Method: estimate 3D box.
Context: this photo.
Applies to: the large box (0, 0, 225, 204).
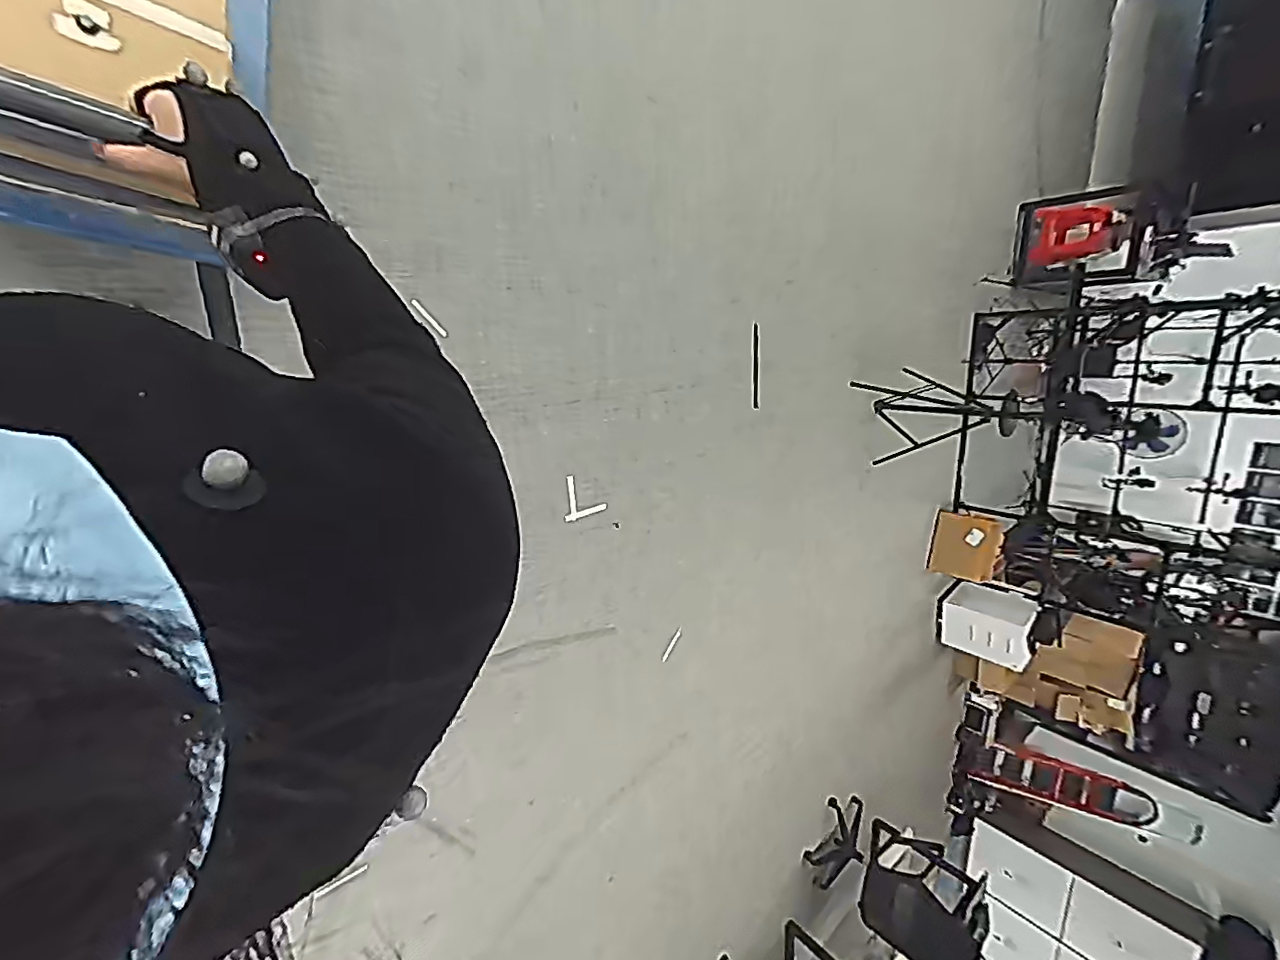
[{"bbox_3d":[-0.820,-0.617,0.716,0.408,0.320,0.320,0,100,-43],"label":"large box"}]
